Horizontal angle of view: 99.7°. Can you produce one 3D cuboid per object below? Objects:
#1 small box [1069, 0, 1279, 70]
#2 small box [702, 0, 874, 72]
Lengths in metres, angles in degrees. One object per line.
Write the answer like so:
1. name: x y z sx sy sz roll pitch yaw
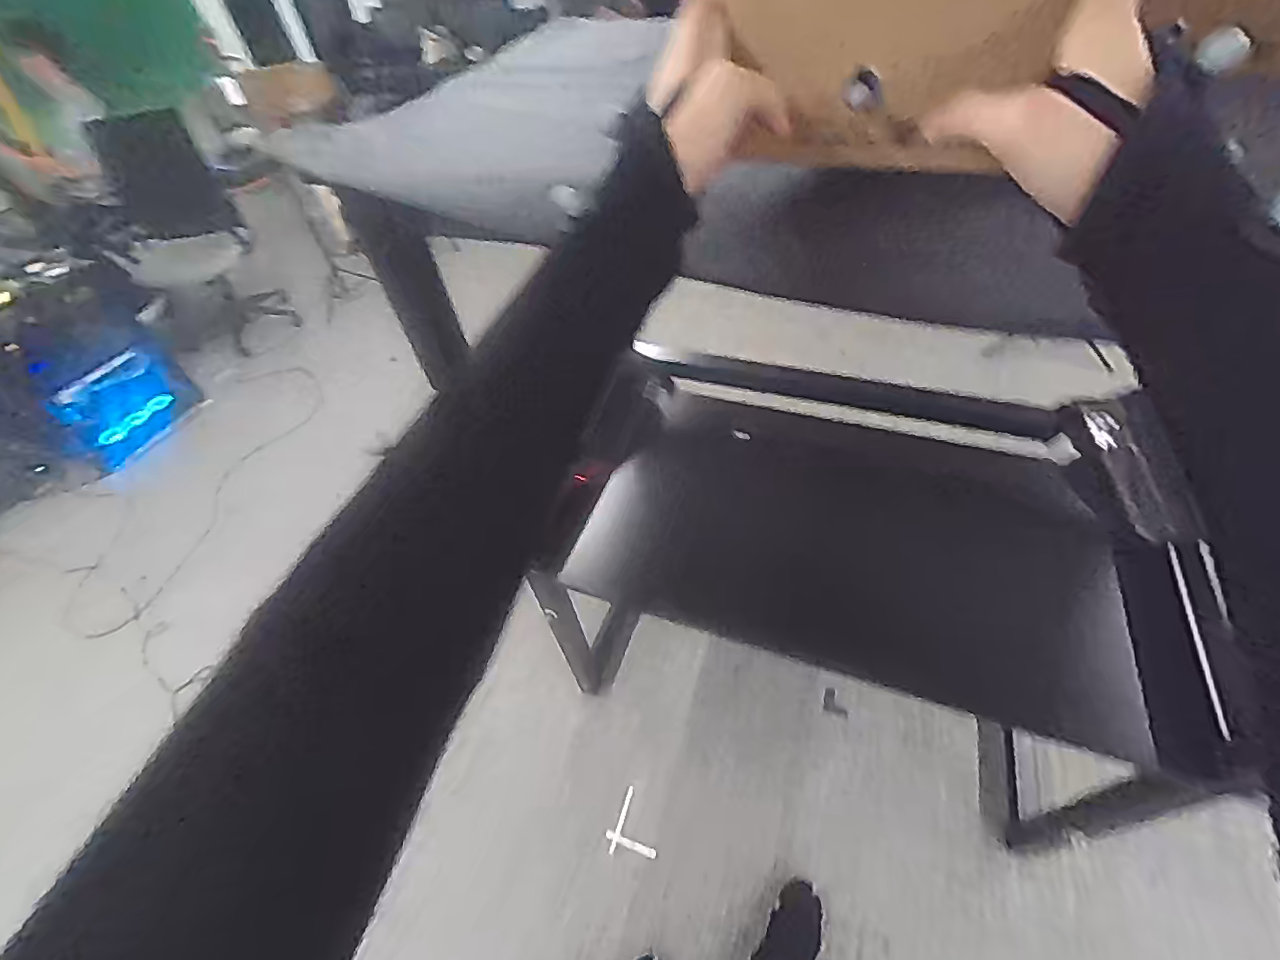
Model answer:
1. small box: 0.509 -0.469 0.460 0.168 0.176 0.179 12 51 16
2. small box: 0.170 -0.572 0.589 0.168 0.176 0.179 17 53 20
